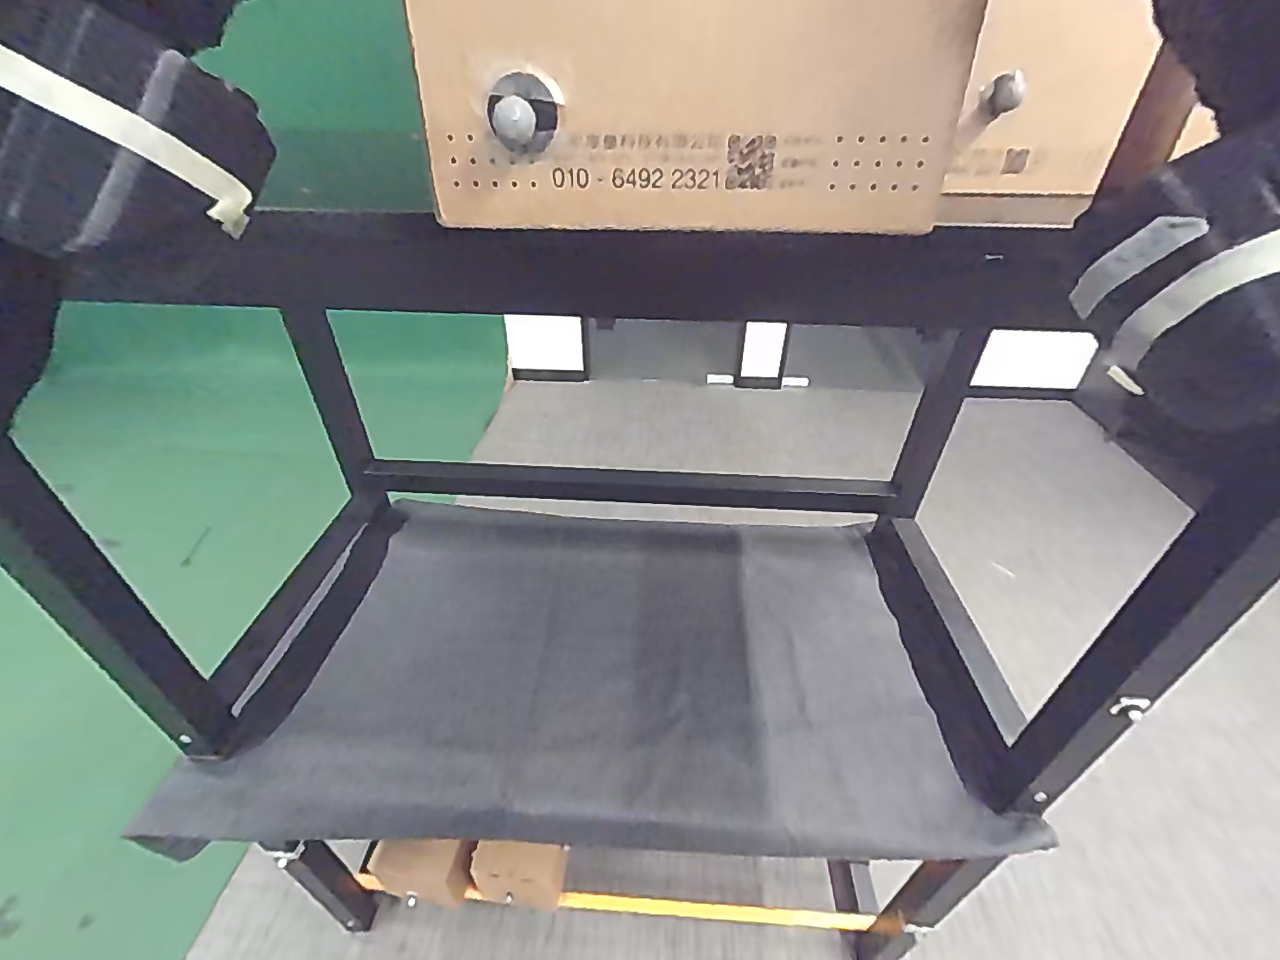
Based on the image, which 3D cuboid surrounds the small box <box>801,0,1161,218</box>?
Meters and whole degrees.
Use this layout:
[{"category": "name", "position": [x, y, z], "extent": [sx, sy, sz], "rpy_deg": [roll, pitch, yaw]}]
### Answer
[{"category": "small box", "position": [0.229, -0.307, 0.408], "extent": [0.168, 0.176, 0.179], "rpy_deg": [2, 35, 2]}]
